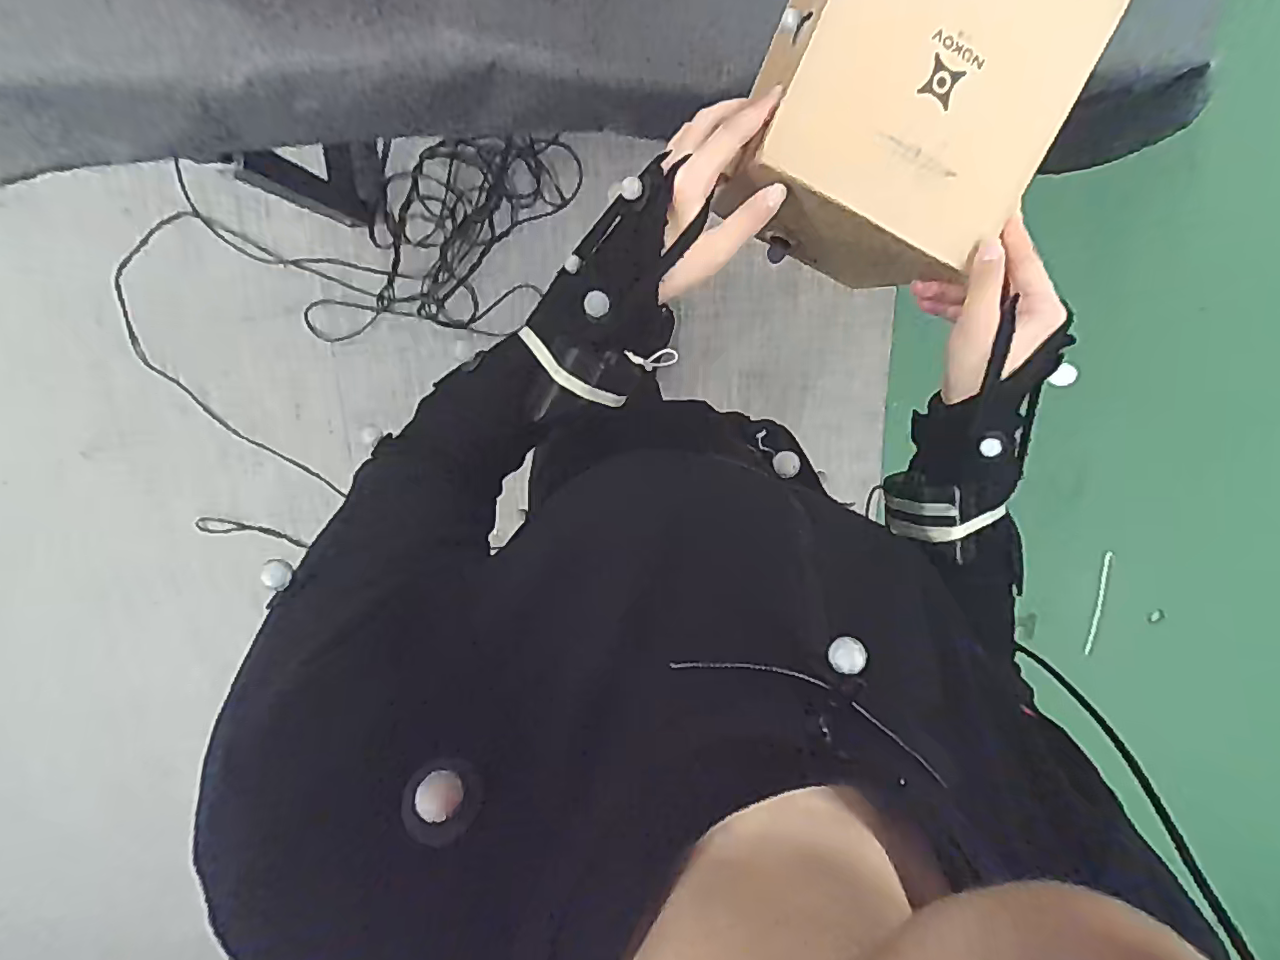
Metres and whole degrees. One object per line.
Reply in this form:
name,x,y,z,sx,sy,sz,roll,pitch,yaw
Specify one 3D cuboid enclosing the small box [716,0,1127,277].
small box,0.171,-0.267,0.391,0.168,0.176,0.179,22,104,-11
